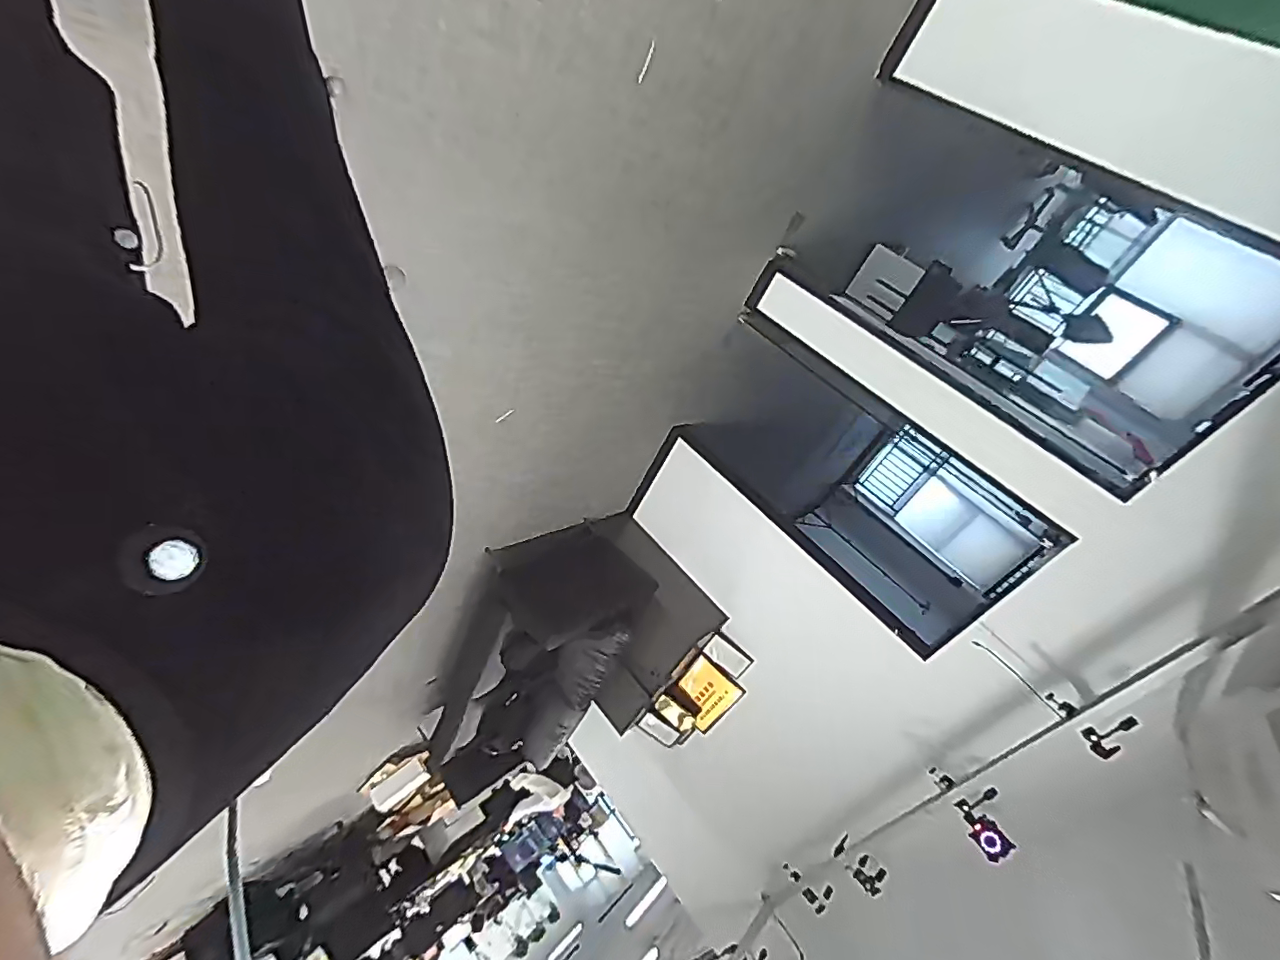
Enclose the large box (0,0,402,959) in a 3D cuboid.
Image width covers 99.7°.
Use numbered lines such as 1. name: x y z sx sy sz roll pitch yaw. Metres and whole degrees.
1. large box: -0.333 0.007 0.140 0.320 0.320 0.408 -14 165 8
